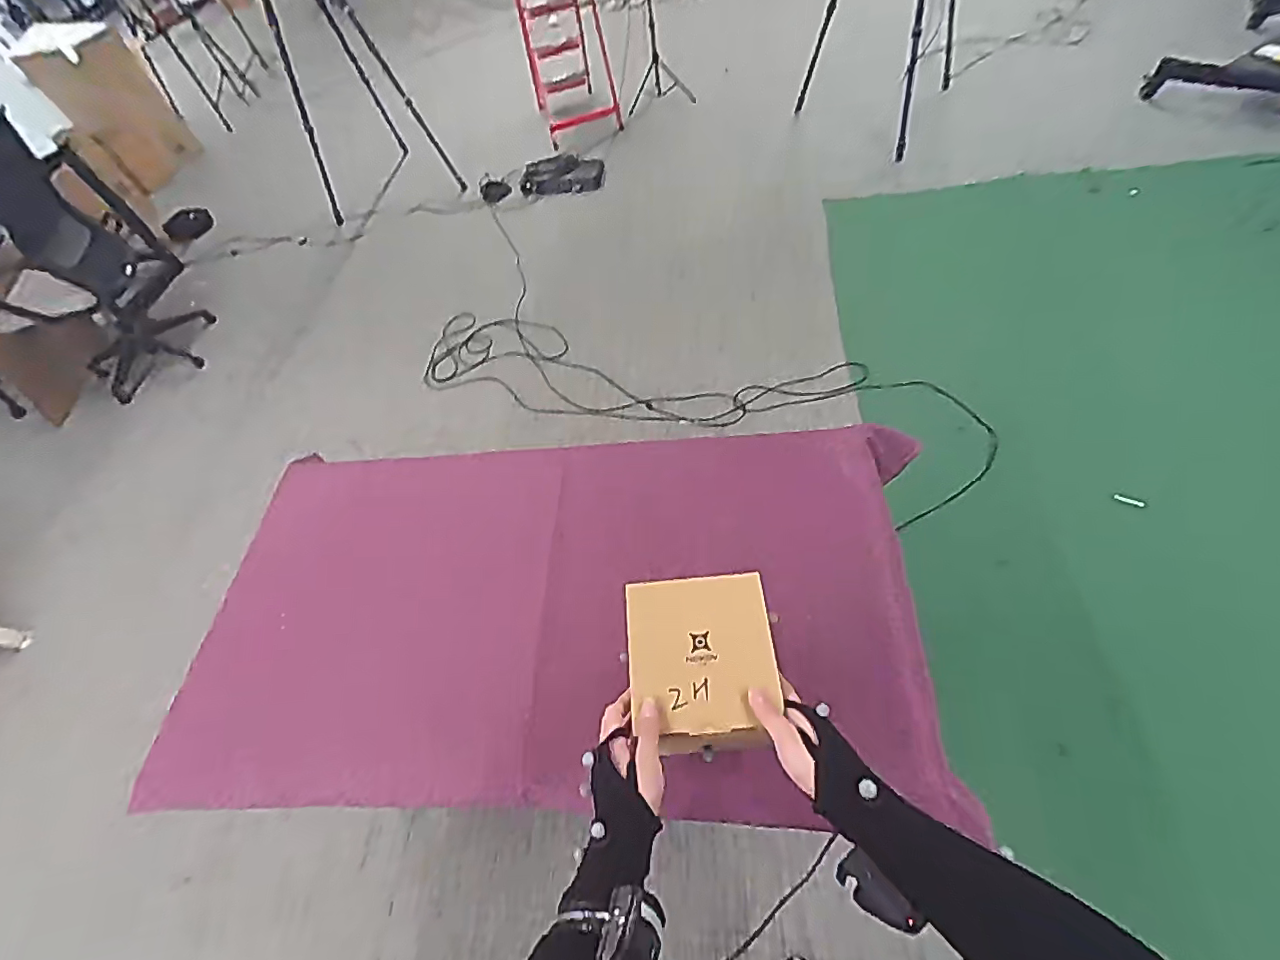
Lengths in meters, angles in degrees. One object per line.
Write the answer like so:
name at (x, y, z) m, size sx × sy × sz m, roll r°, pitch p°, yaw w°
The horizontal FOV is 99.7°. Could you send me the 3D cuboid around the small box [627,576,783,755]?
small box at (0.073, 0.237, 0.678) m, size 0.168 × 0.176 × 0.179 m, roll -5°, pitch 58°, yaw 4°
